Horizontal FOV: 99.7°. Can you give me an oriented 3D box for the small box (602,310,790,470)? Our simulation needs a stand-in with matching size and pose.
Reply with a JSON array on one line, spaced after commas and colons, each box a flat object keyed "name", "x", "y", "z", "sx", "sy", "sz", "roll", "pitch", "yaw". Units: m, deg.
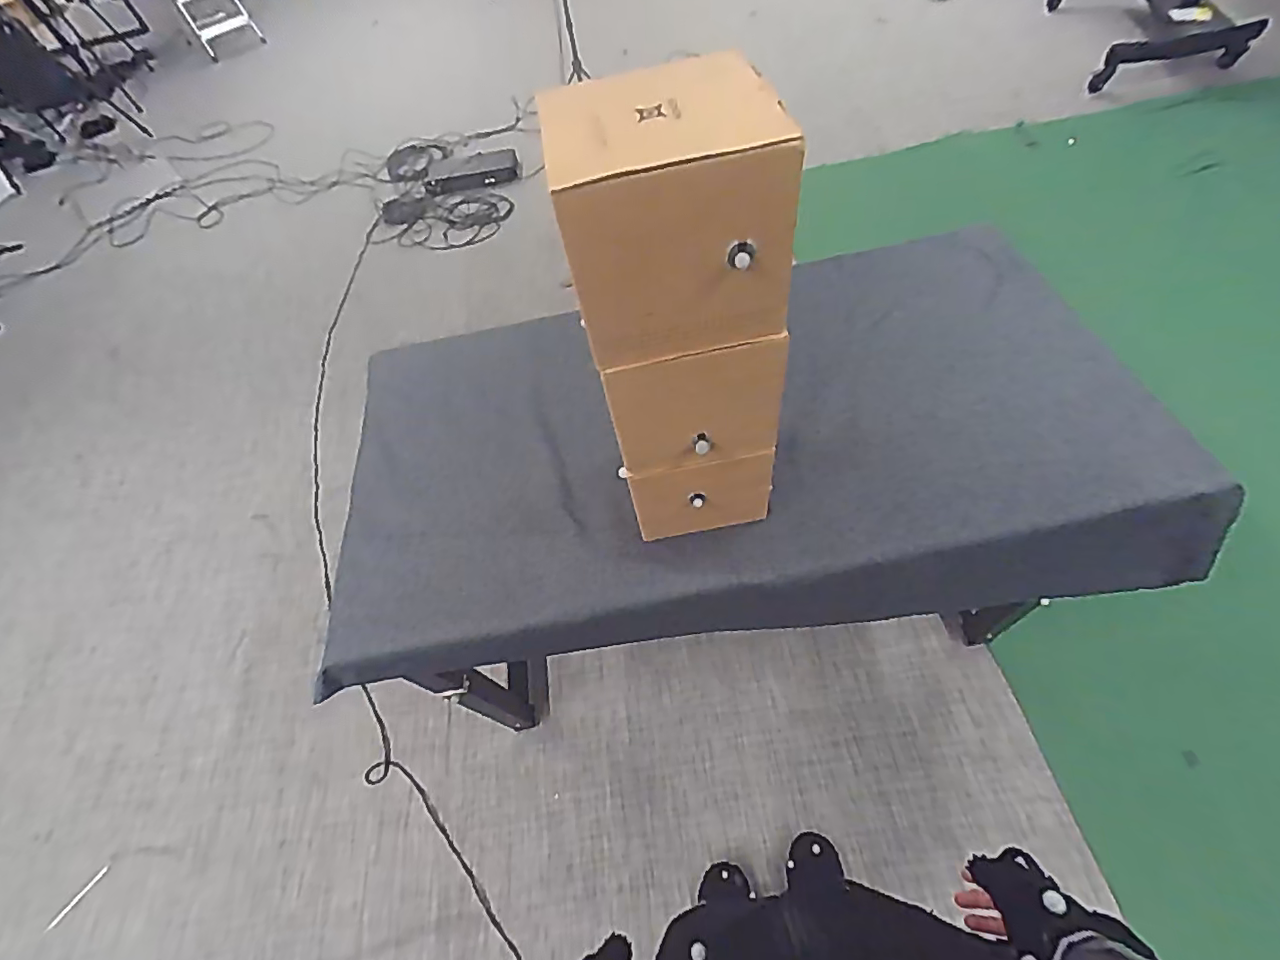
[{"name": "small box", "x": 0.050, "y": -0.132, "z": 0.601, "sx": 0.179, "sy": 0.176, "sz": 0.168, "roll": -11, "pitch": 56, "yaw": 2}]

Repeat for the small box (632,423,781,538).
[{"name": "small box", "x": 0.074, "y": -0.041, "z": 0.735, "sx": 0.179, "sy": 0.176, "sz": 0.168, "roll": -13, "pitch": 57, "yaw": -1}]

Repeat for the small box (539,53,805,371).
[{"name": "small box", "x": 0.024, "y": -0.221, "z": 0.468, "sx": 0.179, "sy": 0.176, "sz": 0.168, "roll": -13, "pitch": 55, "yaw": 2}]
